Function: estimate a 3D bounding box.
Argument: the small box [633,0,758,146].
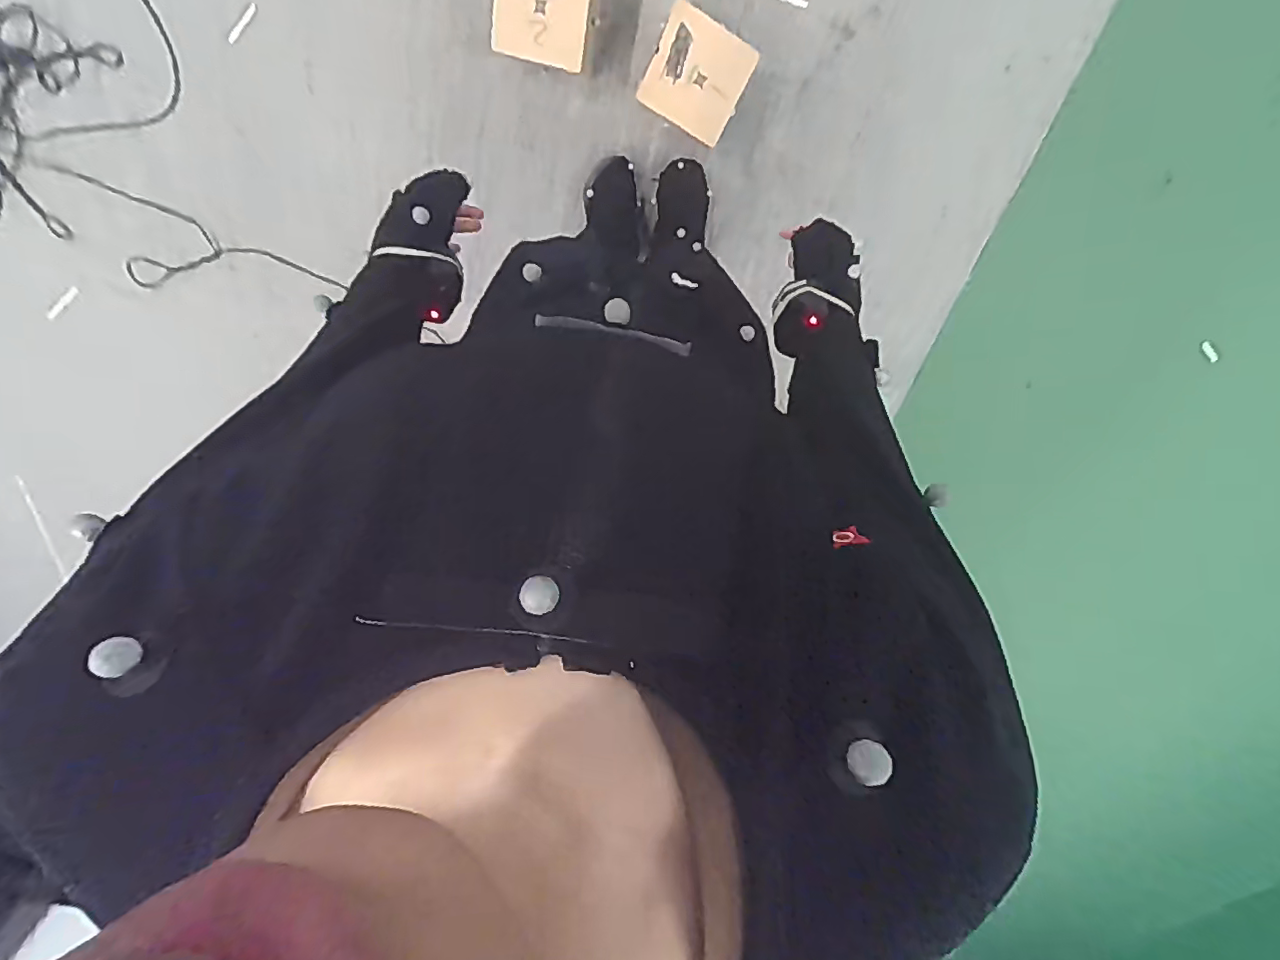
[{"bbox_3d":[0.100,-0.779,1.052,0.179,0.176,0.168,24,120,-15],"label":"small box"}]
